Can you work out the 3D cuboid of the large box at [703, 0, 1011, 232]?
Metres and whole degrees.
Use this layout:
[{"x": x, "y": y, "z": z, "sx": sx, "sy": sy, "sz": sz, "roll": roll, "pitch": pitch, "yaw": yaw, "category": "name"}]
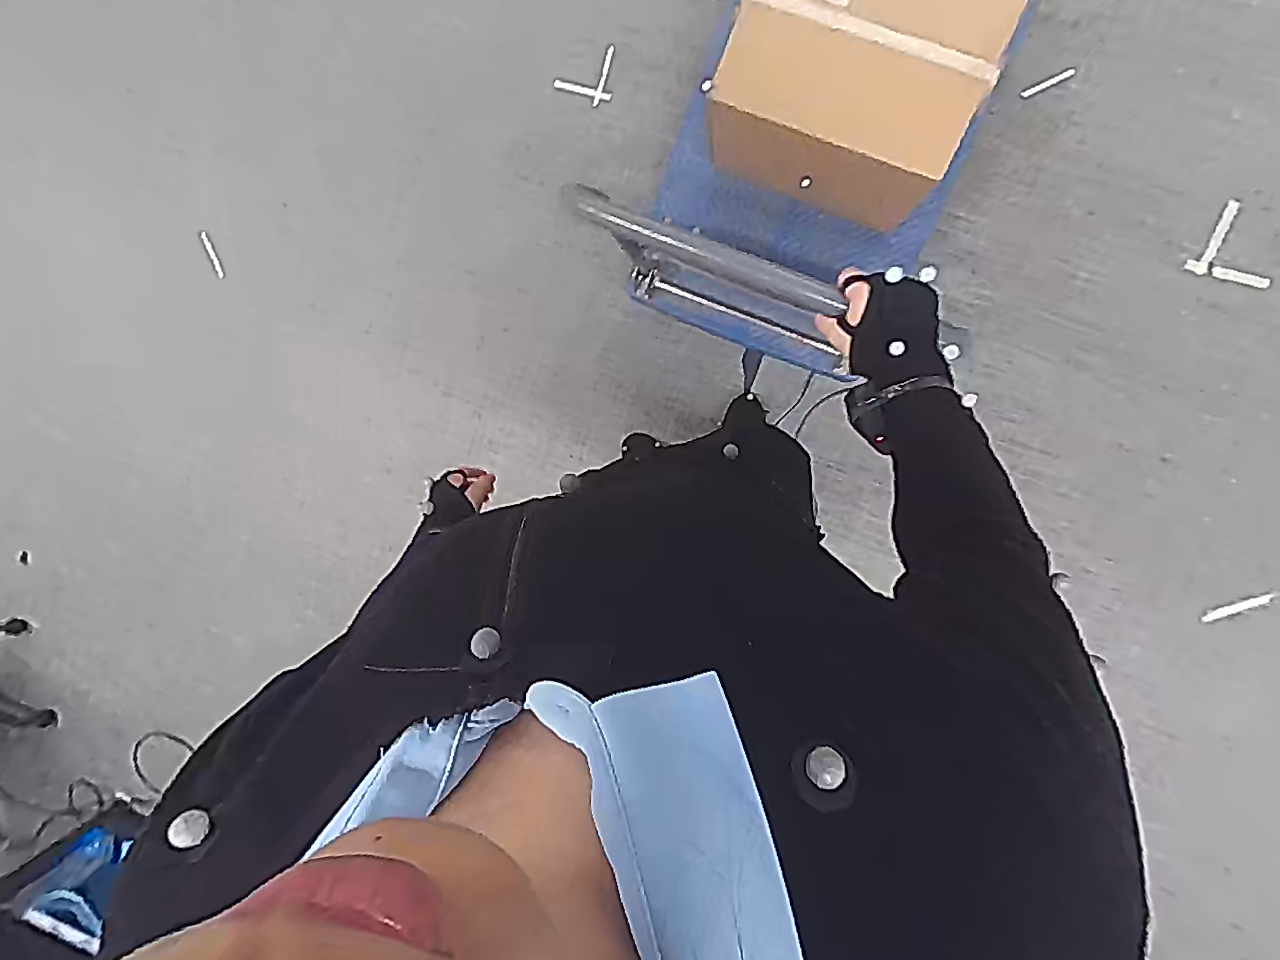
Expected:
[{"x": 0.371, "y": -0.719, "z": 1.015, "sx": 0.408, "sy": 0.320, "sz": 0.320, "roll": 23, "pitch": 101, "yaw": 6, "category": "large box"}]
